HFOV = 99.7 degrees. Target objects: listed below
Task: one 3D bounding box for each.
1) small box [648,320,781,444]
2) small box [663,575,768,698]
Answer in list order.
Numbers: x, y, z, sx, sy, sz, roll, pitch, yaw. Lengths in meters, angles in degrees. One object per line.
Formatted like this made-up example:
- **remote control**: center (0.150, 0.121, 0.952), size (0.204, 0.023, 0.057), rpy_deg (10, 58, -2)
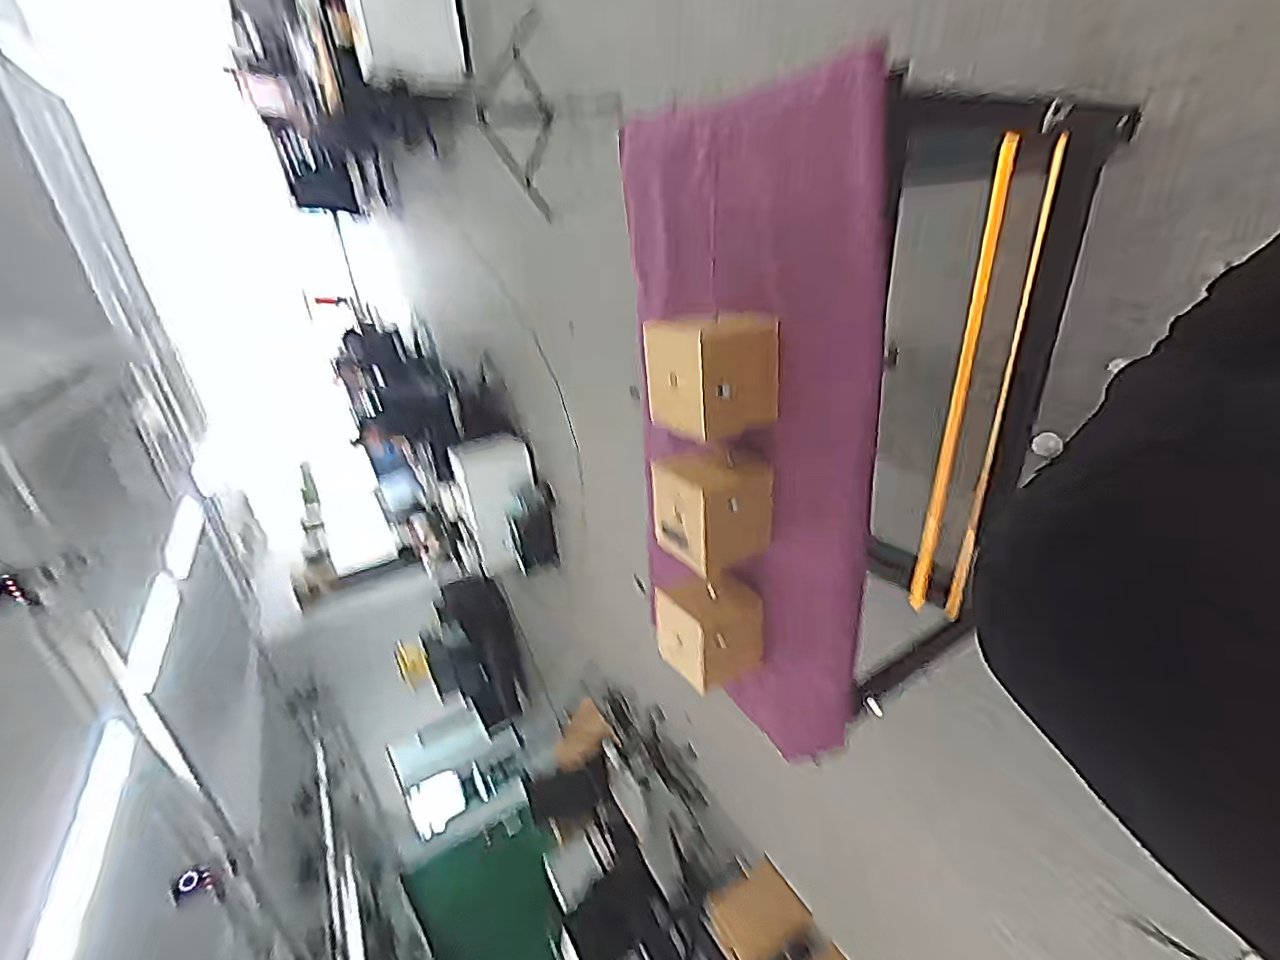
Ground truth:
- **small box**: center (0.133, -0.183, 0.956), size (0.168, 0.176, 0.179), rpy_deg (28, 131, 54)
- **small box**: center (0.166, 0.334, 1.193), size (0.168, 0.176, 0.179), rpy_deg (28, 127, 54)
